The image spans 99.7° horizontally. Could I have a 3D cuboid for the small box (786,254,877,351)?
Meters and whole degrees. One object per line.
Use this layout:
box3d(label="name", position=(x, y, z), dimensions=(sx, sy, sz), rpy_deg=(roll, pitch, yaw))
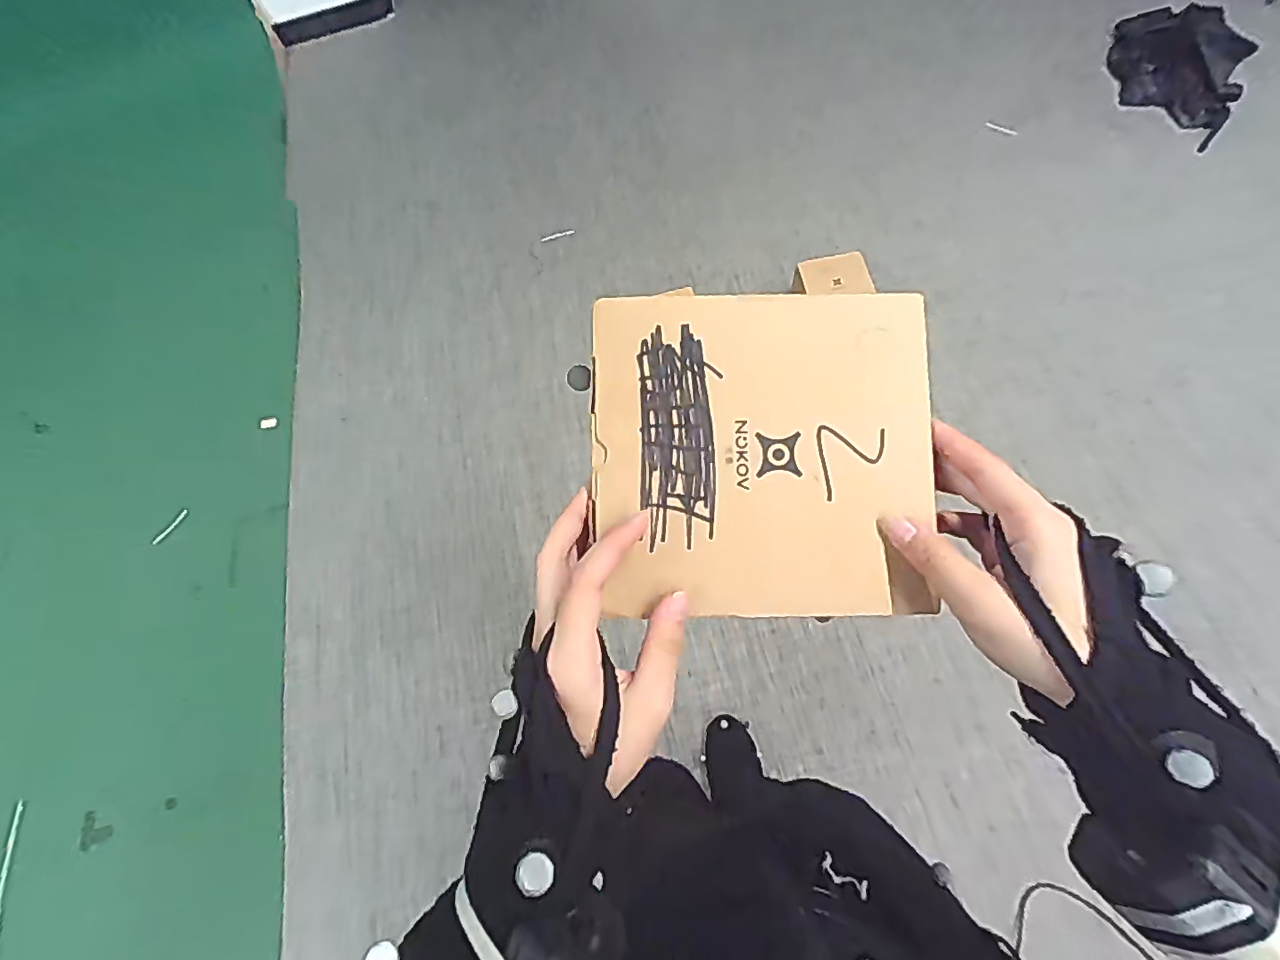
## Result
box3d(label="small box", position=(0.495, -0.457, 1.424), dimensions=(0.168, 0.176, 0.179), rpy_deg=(-9, 67, 1))

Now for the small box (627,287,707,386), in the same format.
box3d(label="small box", position=(0.072, -0.376, 1.438), dimensions=(0.179, 0.176, 0.168), rpy_deg=(-14, 68, 1))
